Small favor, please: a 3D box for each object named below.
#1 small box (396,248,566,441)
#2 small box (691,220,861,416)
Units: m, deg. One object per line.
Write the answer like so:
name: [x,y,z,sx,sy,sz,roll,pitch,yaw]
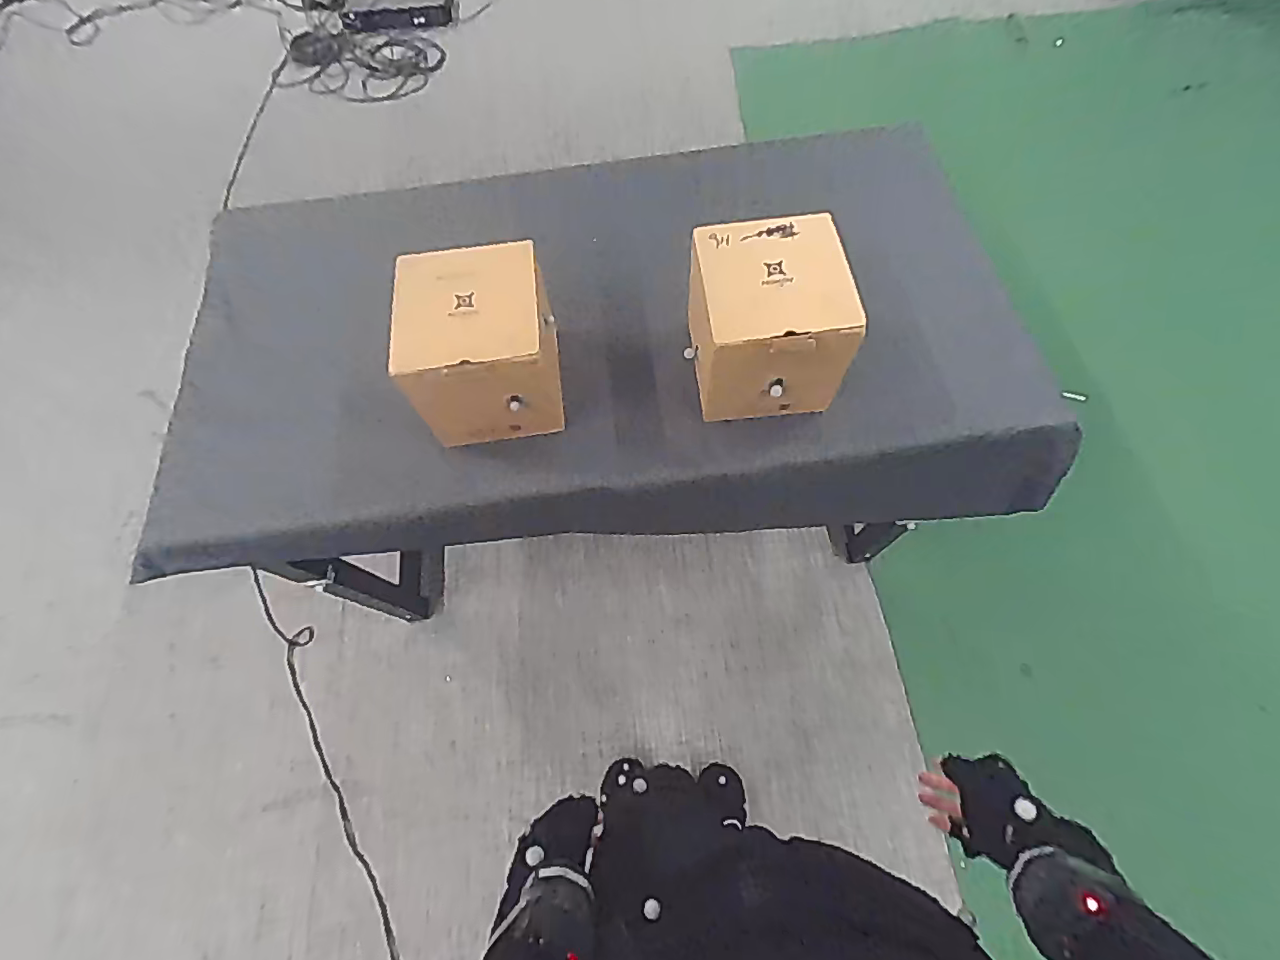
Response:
small box: [-0.193,-0.162,0.695,0.168,0.176,0.179,-8,64,-3]
small box: [0.157,-0.194,0.690,0.168,0.176,0.179,-6,66,0]
